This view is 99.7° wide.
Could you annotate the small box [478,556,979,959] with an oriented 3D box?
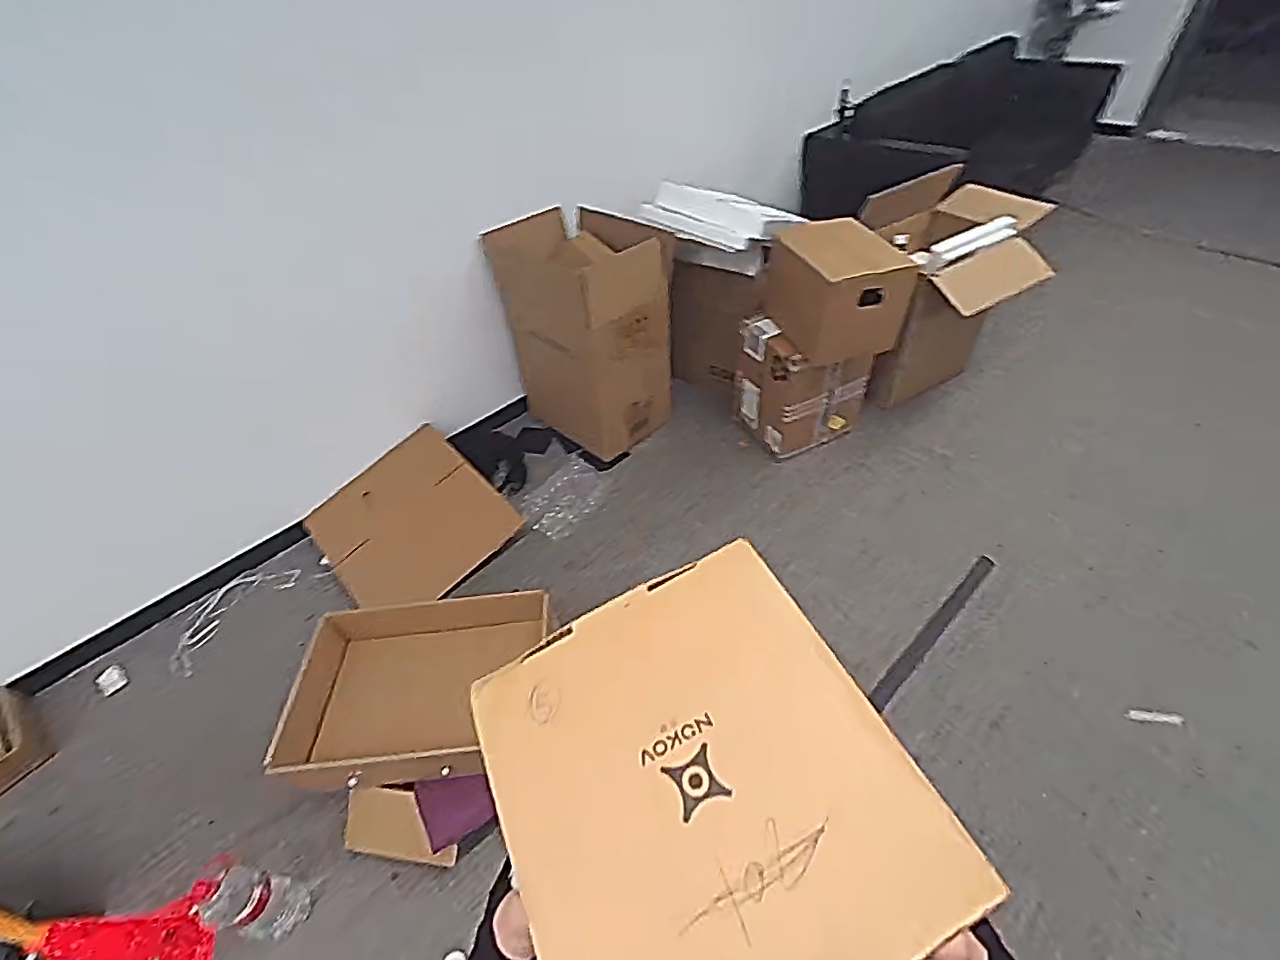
[{"bbox_3d":[0.034,0.181,0.306,0.168,0.176,0.179,-26,53,-7],"label":"small box"}]
